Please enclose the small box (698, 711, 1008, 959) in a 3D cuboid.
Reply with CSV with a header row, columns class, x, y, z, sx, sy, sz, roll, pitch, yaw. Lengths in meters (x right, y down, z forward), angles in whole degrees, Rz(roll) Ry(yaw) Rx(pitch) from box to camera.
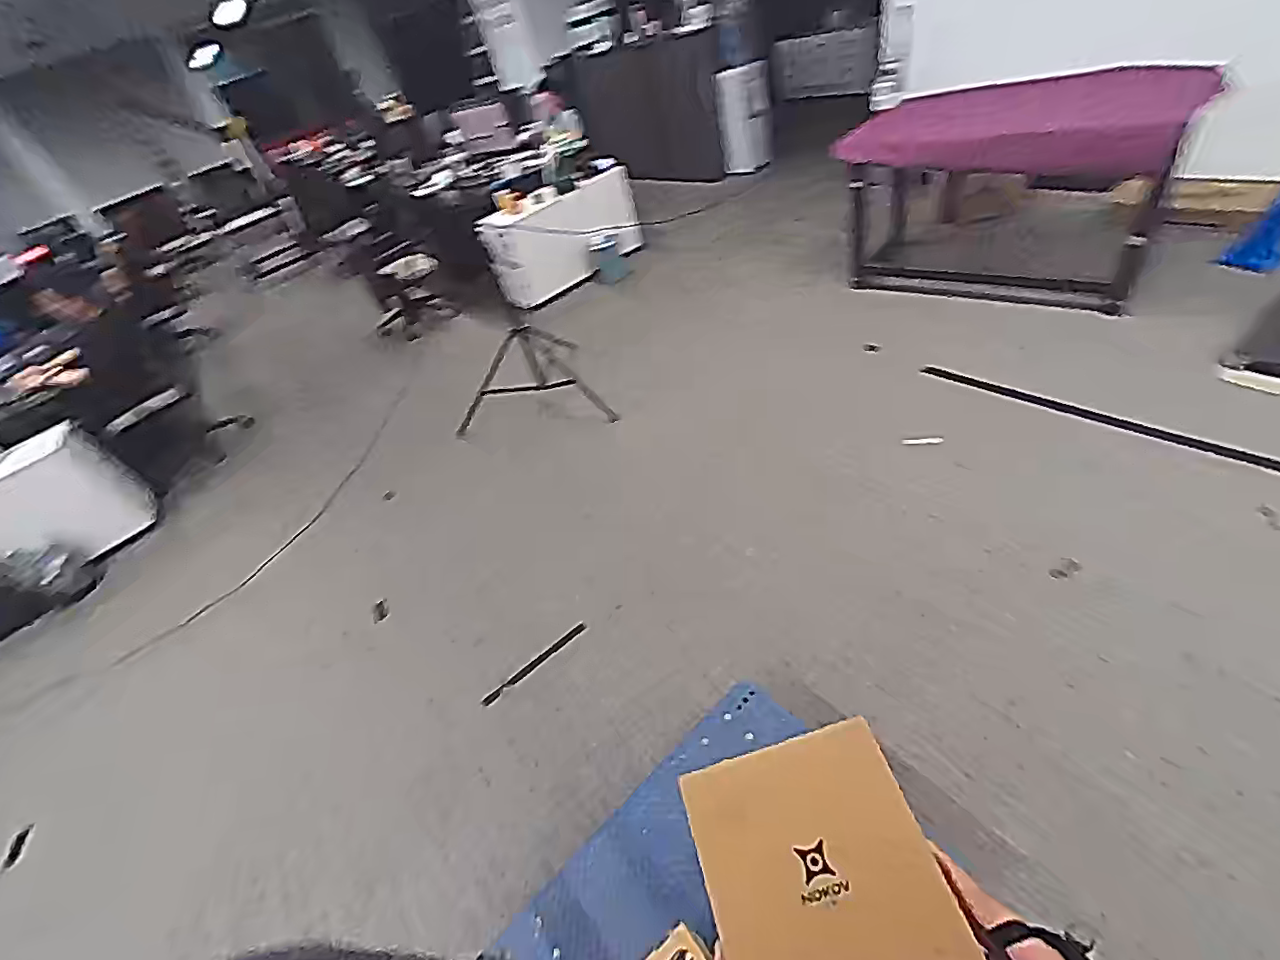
class,x,y,z,sx,sy,sz,roll,pitch,yaw
small box,0.156,0.326,0.452,0.168,0.176,0.179,-18,50,0
